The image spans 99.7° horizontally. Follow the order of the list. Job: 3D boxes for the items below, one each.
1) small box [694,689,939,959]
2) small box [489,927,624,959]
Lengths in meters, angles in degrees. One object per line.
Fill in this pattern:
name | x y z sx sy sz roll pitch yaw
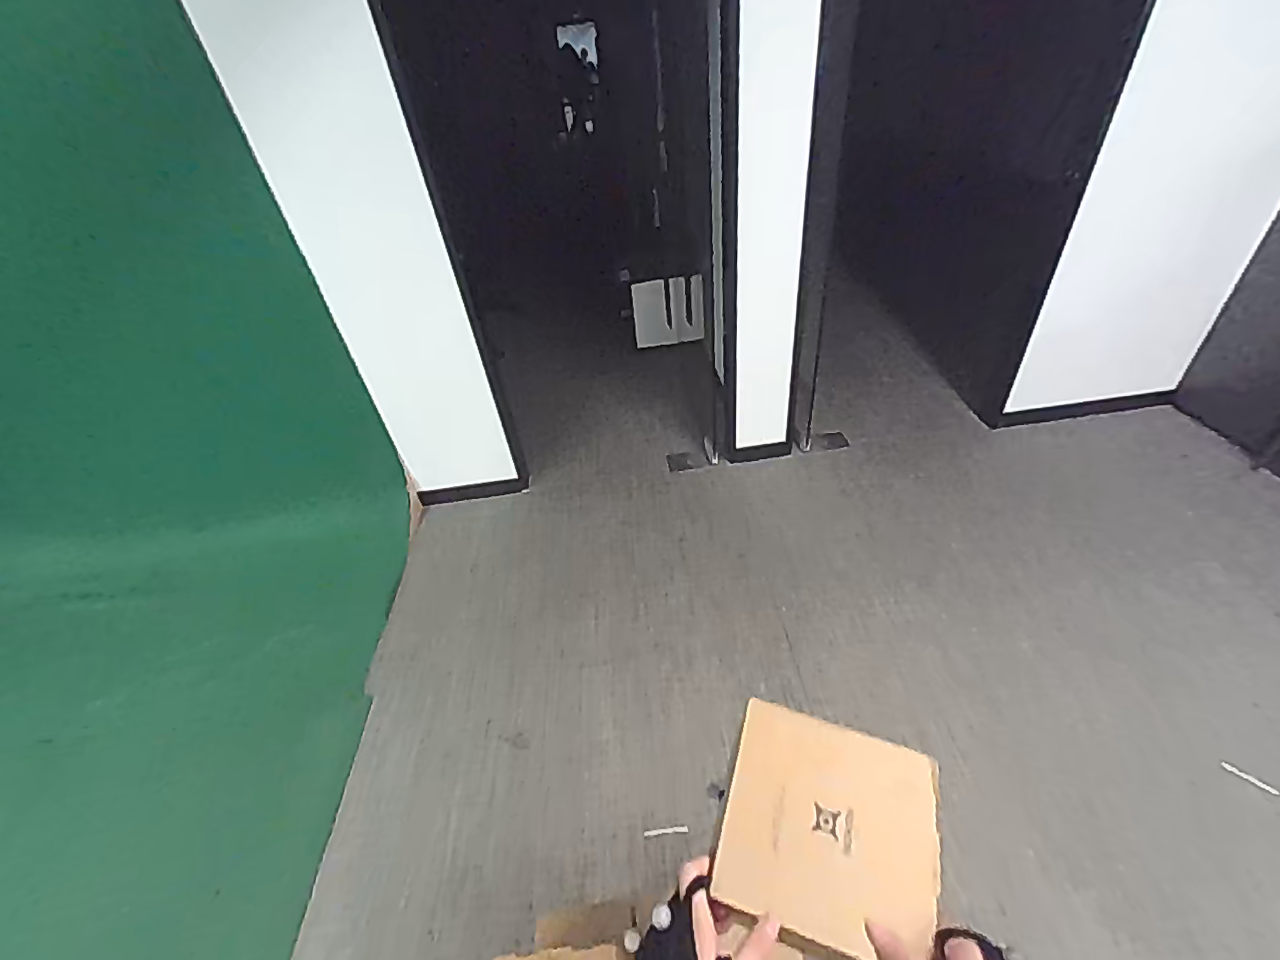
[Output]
small box | 0.160 0.332 0.519 0.179 0.176 0.168 15 52 13
small box | -0.104 0.714 0.703 0.168 0.176 0.179 -6 41 0
